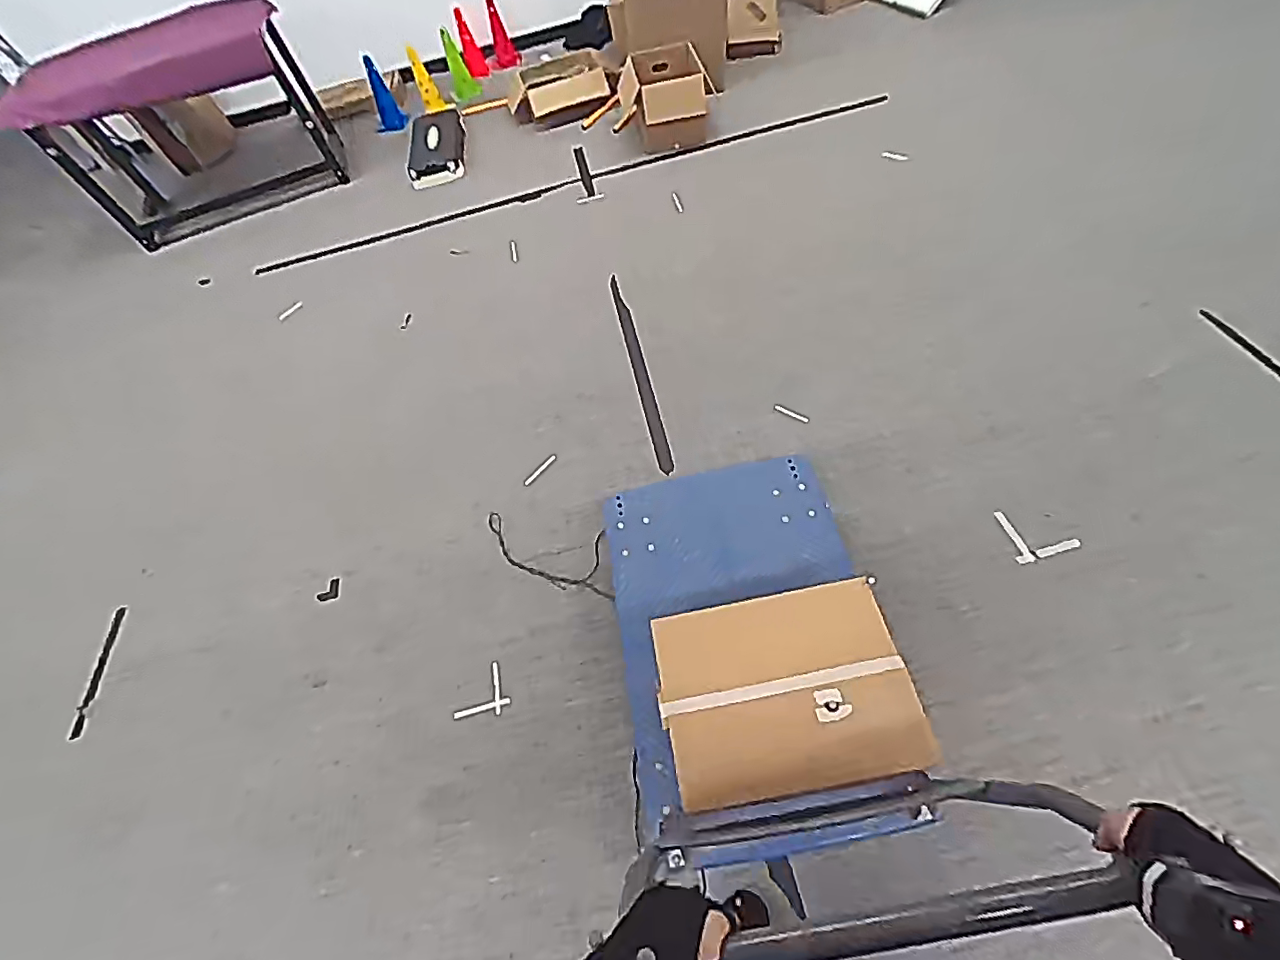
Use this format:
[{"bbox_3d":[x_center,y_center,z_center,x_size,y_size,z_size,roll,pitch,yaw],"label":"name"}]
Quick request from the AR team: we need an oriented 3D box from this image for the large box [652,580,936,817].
[{"bbox_3d":[0.258,0.431,1.041,0.408,0.320,0.320,-12,58,1],"label":"large box"}]
